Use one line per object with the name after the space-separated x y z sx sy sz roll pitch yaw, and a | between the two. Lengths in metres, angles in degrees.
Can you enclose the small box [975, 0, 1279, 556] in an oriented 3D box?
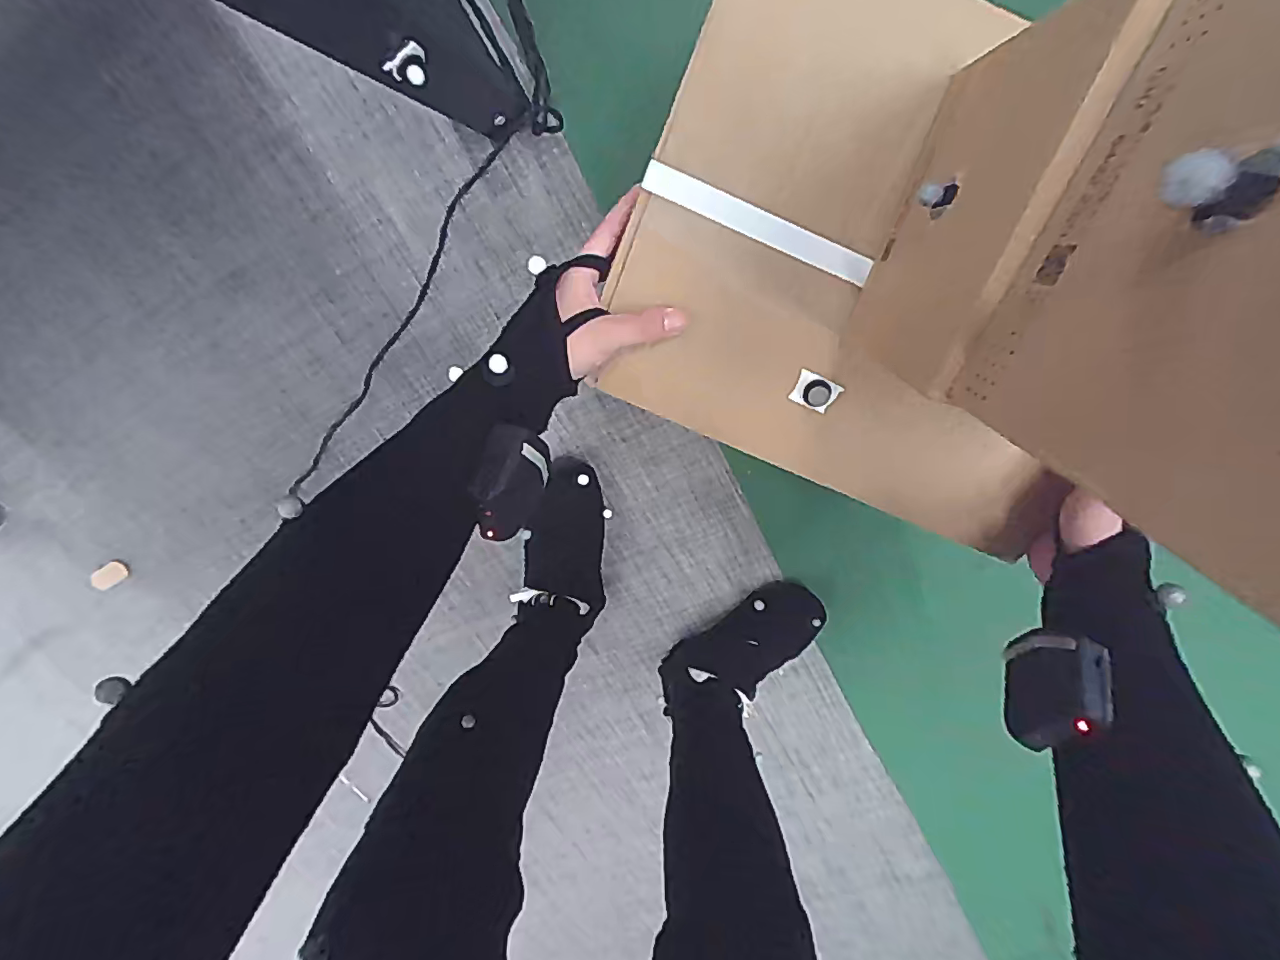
0.237 -0.053 0.141 0.179 0.176 0.168 18 115 -1 | small box
